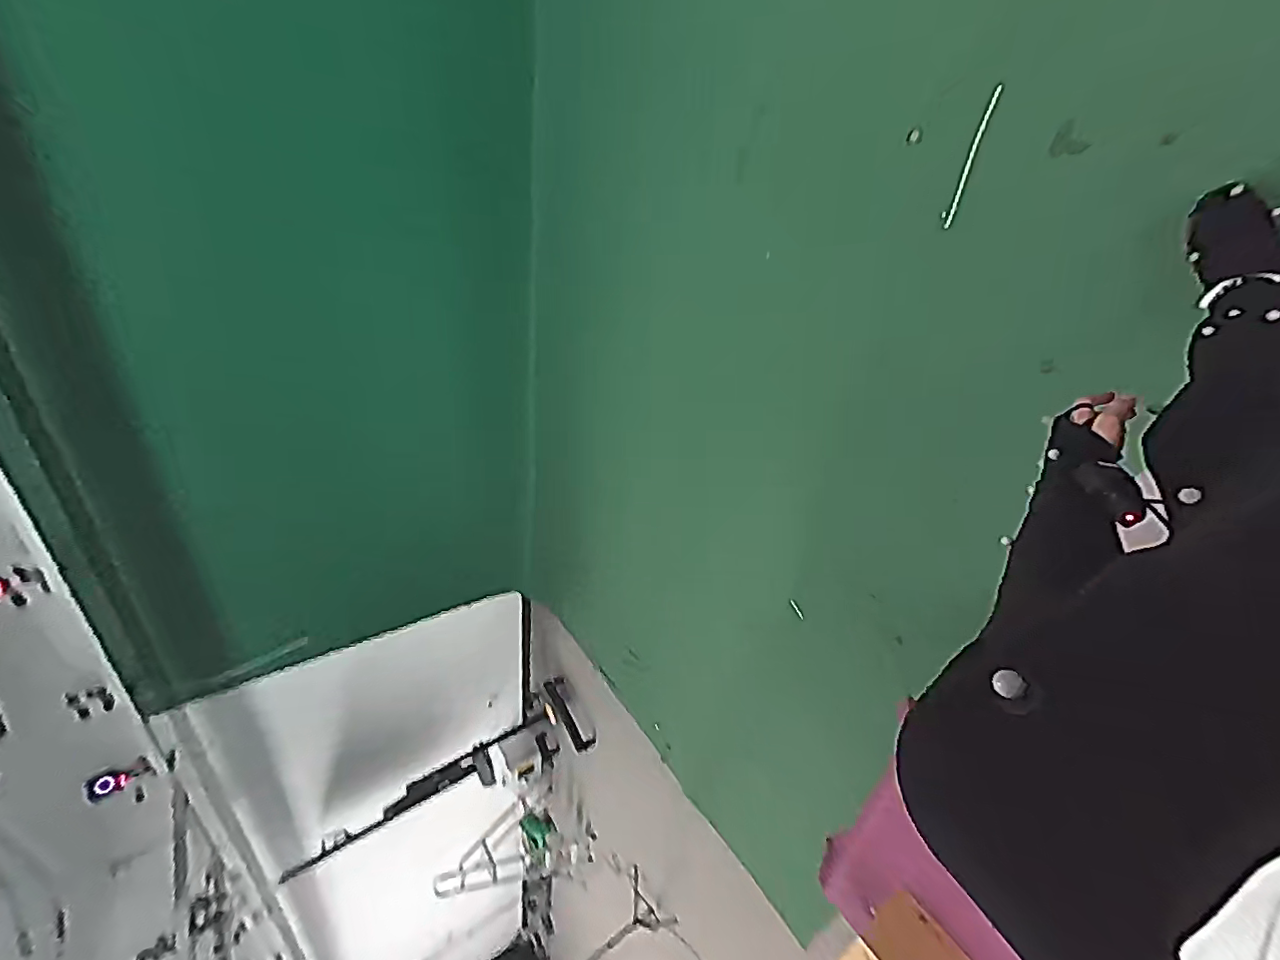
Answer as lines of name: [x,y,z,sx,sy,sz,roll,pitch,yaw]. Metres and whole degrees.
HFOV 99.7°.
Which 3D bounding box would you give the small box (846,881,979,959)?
small box: [0.574,1.009,1.140,0.168,0.176,0.179,37,132,39]
